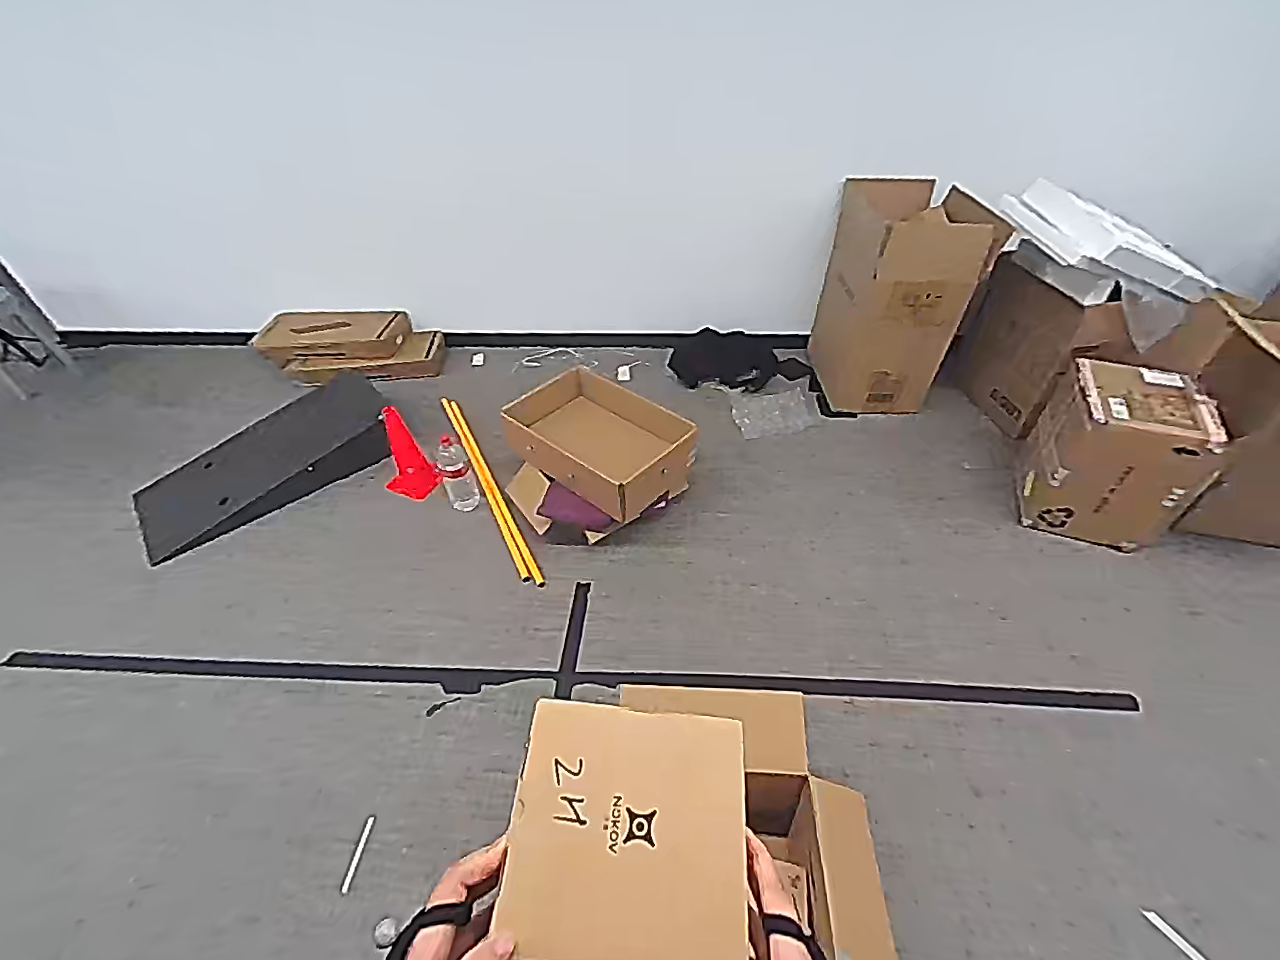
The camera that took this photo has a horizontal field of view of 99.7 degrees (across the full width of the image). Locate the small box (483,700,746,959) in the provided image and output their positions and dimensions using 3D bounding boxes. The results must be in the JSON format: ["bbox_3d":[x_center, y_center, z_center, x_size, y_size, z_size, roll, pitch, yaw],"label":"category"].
[{"bbox_3d":[-0.013,0.306,0.464,0.179,0.176,0.168,5,51,2],"label":"small box"}]
